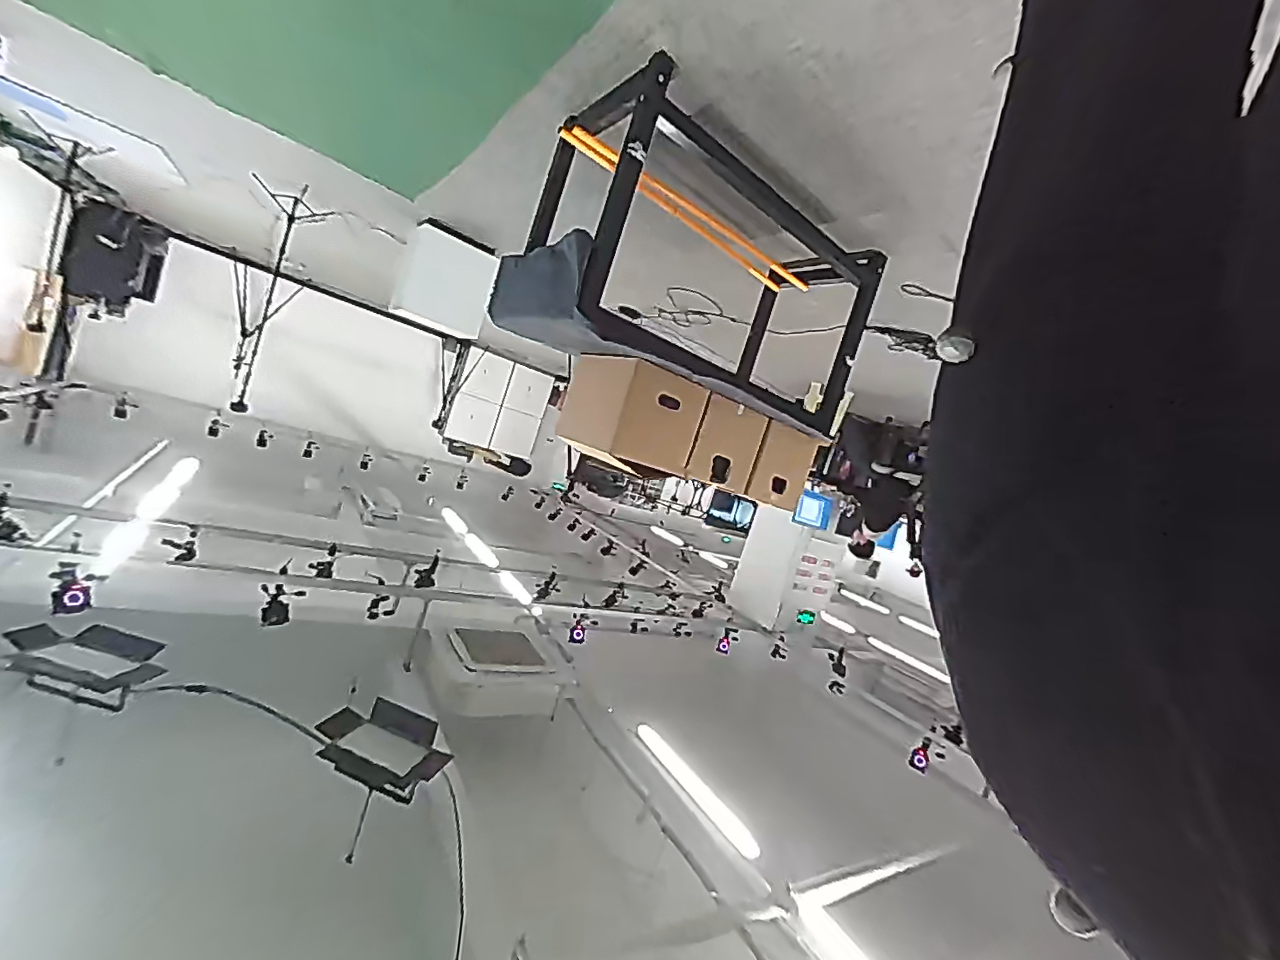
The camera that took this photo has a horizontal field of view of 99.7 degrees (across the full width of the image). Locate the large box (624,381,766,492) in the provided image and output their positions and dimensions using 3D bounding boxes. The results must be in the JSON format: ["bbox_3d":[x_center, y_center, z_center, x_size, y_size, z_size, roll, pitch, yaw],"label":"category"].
[{"bbox_3d":[0.200,-0.174,2.066,0.320,0.320,0.408,16,-178,-35],"label":"large box"}]
